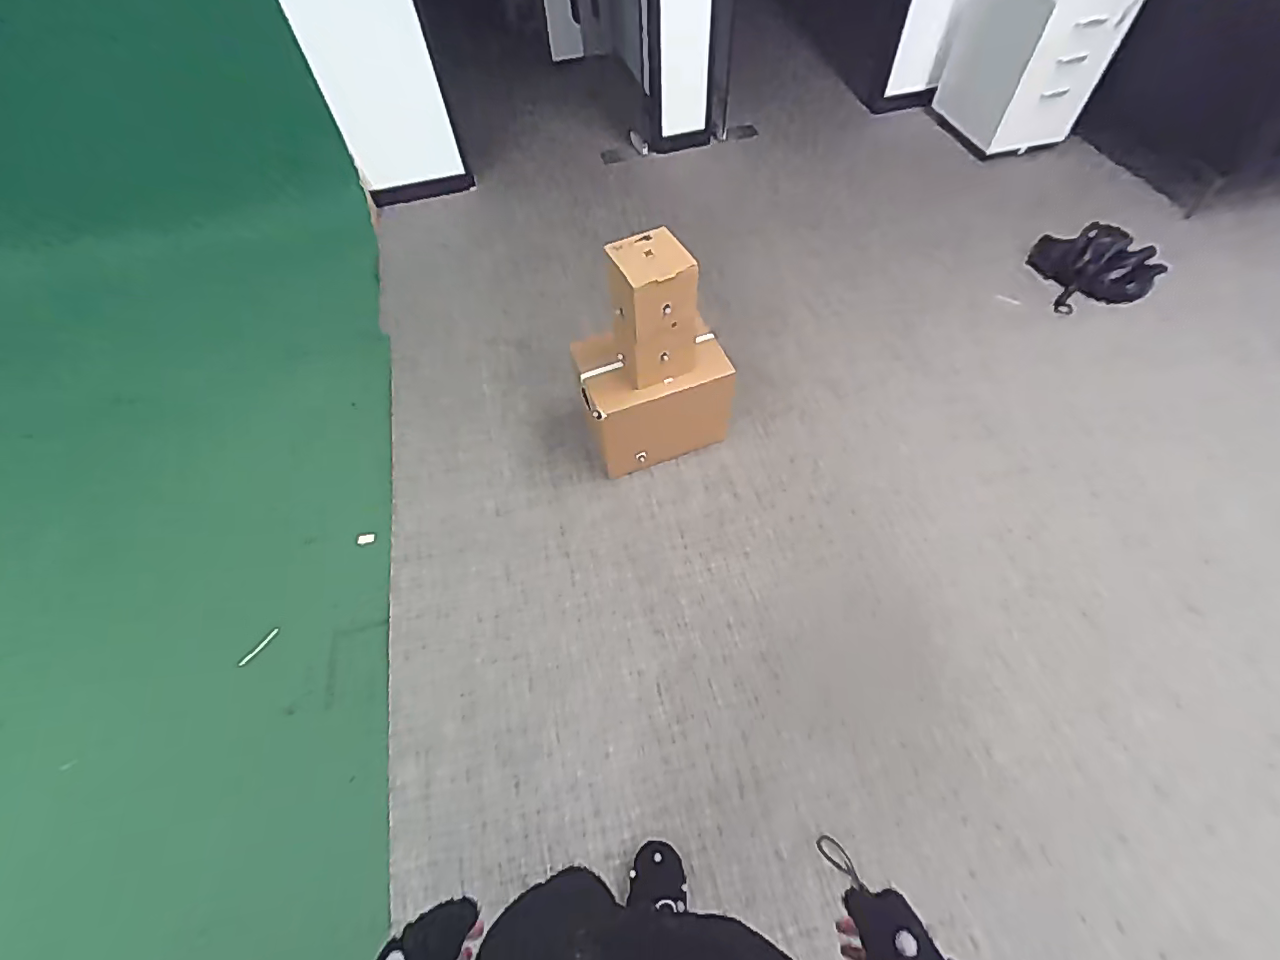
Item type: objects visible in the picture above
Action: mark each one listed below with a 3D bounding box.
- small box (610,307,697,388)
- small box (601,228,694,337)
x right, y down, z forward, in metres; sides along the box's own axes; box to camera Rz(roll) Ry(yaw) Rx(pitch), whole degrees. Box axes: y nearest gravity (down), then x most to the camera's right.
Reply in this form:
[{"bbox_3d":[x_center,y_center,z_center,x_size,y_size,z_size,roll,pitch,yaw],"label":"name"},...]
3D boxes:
[{"bbox_3d":[0.032,-0.379,1.446,0.179,0.176,0.168,-24,59,-13],"label":"small box"},{"bbox_3d":[0.019,-0.470,1.311,0.168,0.176,0.179,-22,59,-11],"label":"small box"}]
